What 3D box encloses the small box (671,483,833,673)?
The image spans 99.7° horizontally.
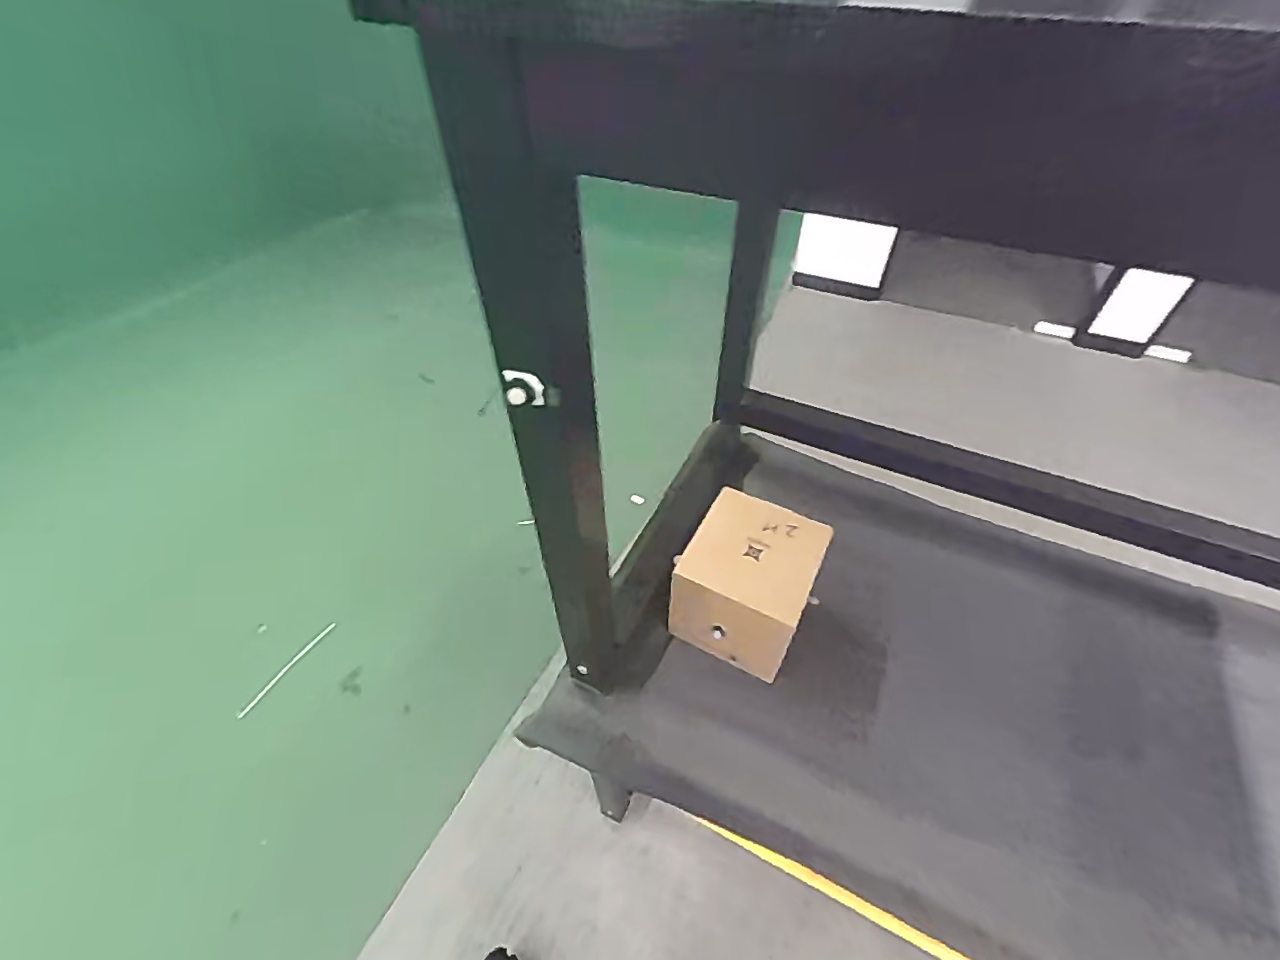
[{"bbox_3d":[0.154,0.142,0.772,0.168,0.176,0.179,23,51,19],"label":"small box"}]
